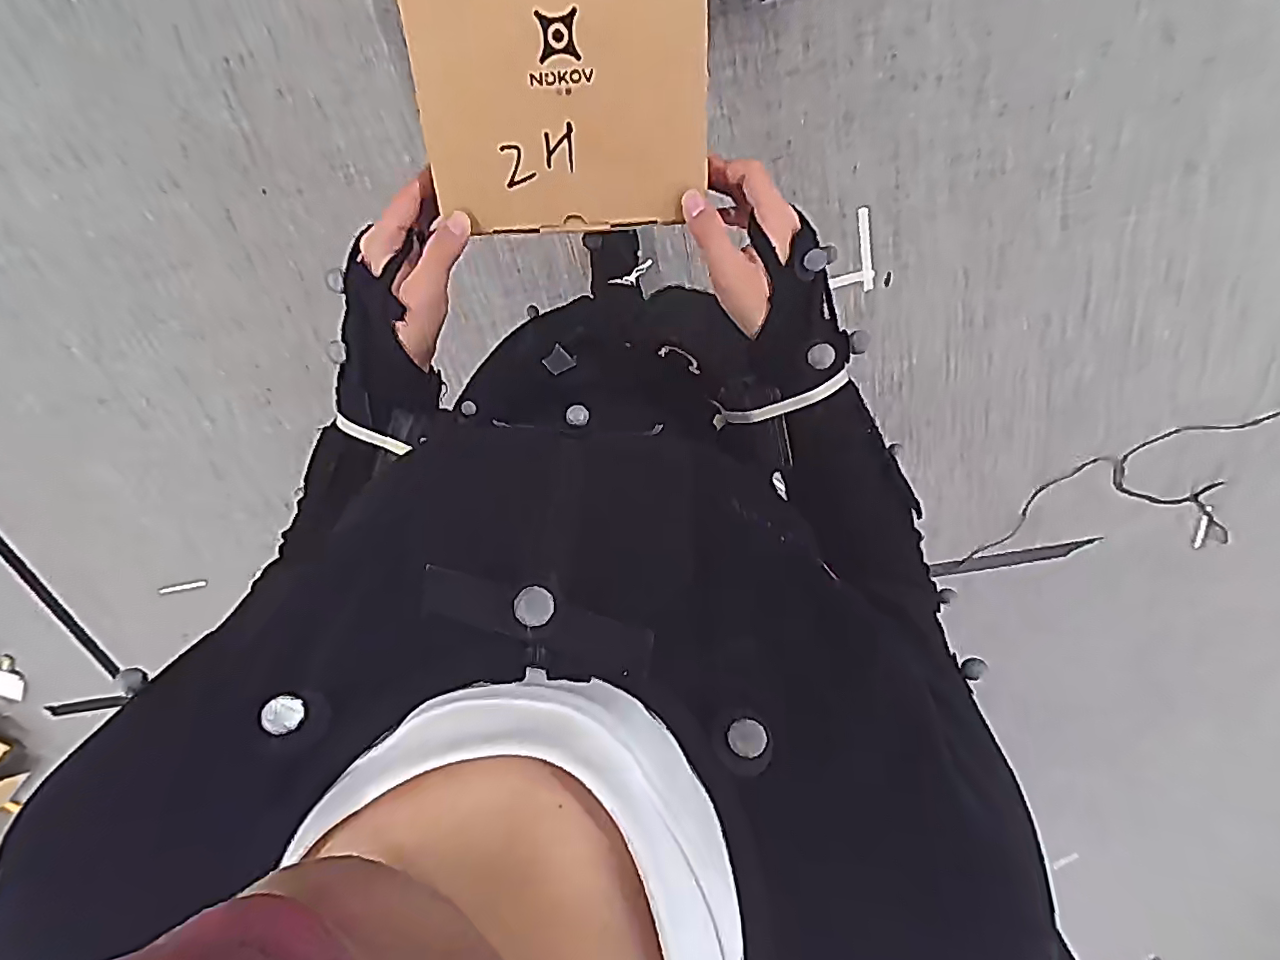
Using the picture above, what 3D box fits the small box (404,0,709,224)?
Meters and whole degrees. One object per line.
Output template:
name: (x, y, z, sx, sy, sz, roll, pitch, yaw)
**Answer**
small box: (-0.043, -0.275, 0.366, 0.168, 0.176, 0.179, -2, 115, 2)
